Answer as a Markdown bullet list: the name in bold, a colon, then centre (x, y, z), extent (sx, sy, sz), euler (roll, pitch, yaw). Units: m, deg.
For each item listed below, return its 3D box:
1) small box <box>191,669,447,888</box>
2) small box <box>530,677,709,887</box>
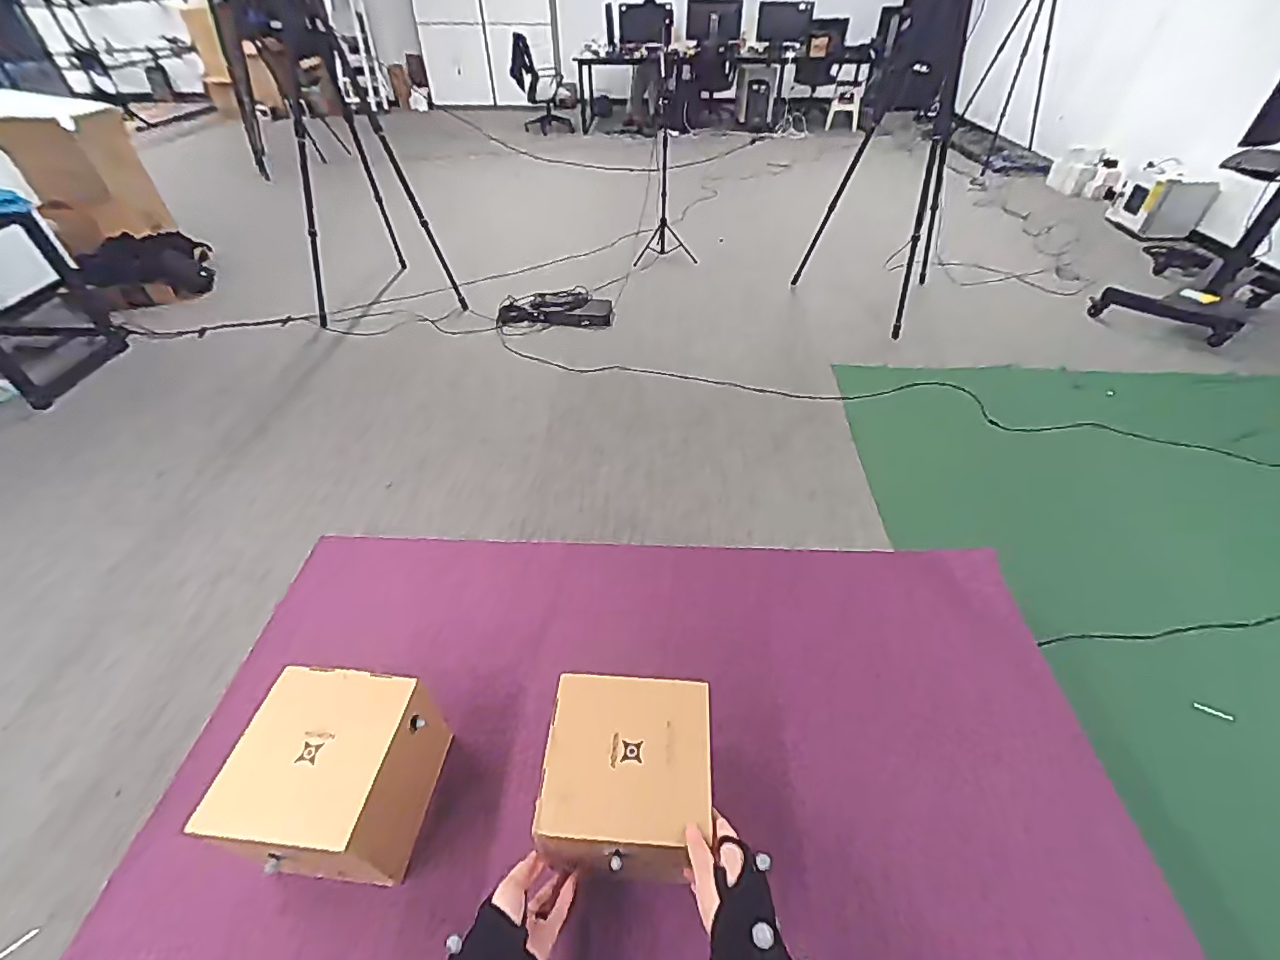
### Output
- **small box**: centre (-0.347, 0.349, 0.632), extent (0.168, 0.176, 0.179), euler (4, 42, 5)
- **small box**: centre (-0.013, 0.349, 0.625), extent (0.179, 0.176, 0.168), euler (3, 43, 4)
